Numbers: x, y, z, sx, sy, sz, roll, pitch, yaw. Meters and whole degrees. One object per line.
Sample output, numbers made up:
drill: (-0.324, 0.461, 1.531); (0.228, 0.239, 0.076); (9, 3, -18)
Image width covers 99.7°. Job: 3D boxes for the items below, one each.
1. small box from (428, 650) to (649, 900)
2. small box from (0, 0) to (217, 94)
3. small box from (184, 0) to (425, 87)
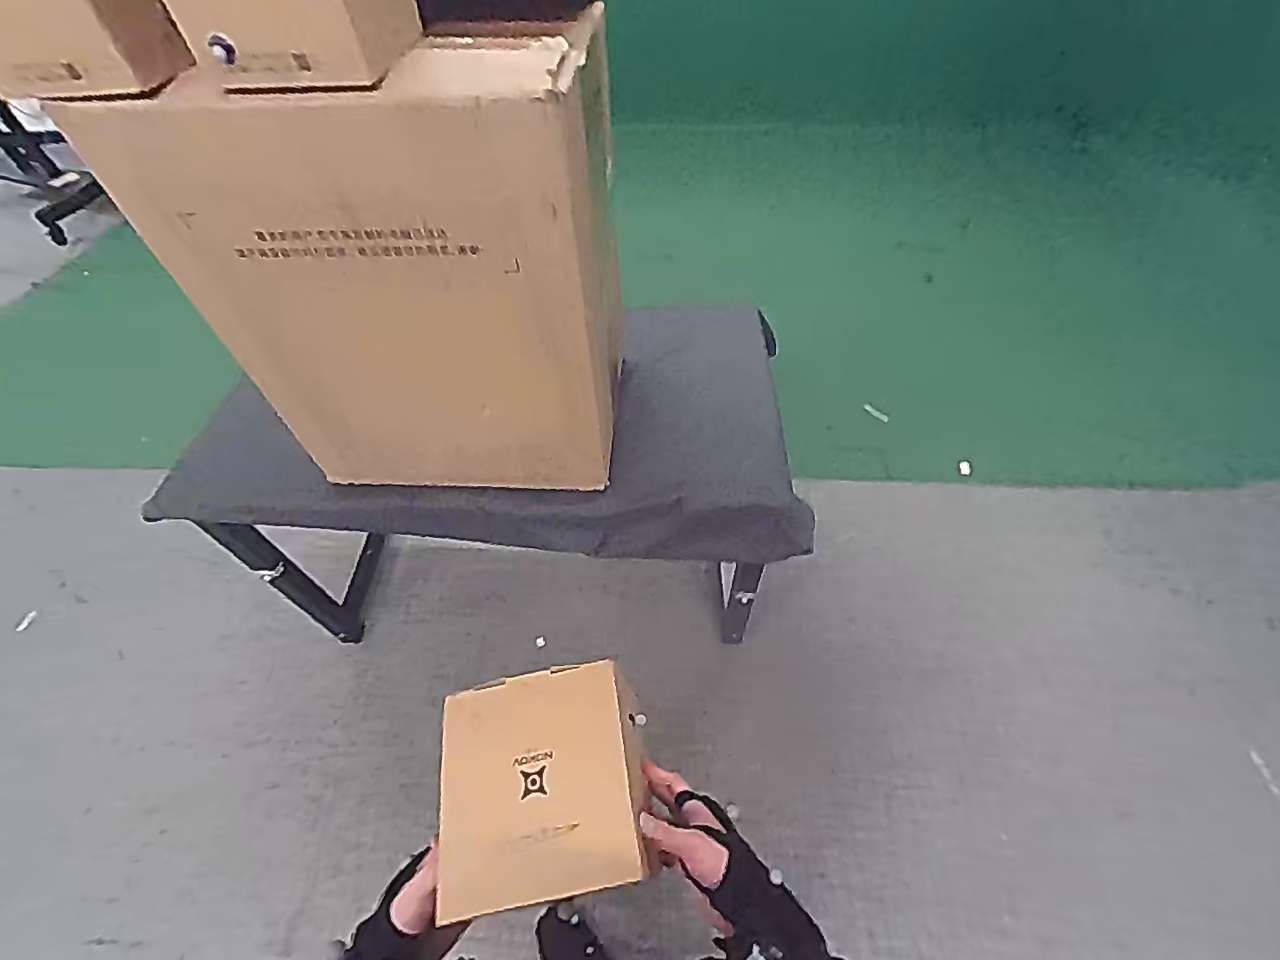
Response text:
small box: (-0.089, 0.290, 0.535); (0.168, 0.176, 0.179); (-11, 56, 1)
small box: (-0.553, -0.504, 0.530); (0.168, 0.176, 0.179); (1, 52, 7)
small box: (-0.330, -0.502, 0.520); (0.168, 0.176, 0.179); (2, 52, 2)
